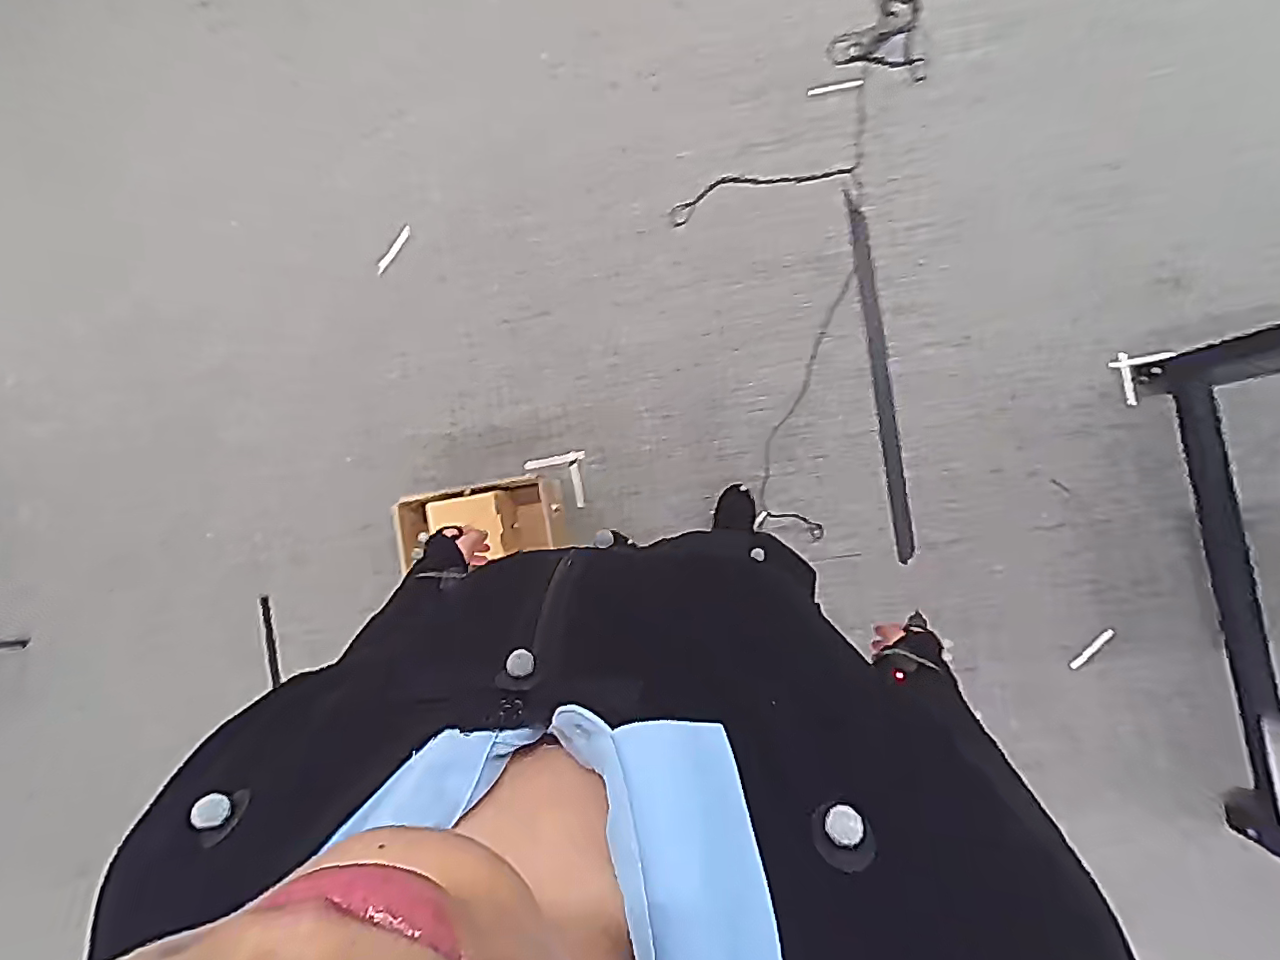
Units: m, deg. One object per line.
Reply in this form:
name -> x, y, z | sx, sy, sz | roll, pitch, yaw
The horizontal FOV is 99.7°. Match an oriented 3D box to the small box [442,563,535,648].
small box -> -0.383, 0.319, 1.407 | 0.179, 0.176, 0.168 | -14, 86, 5
